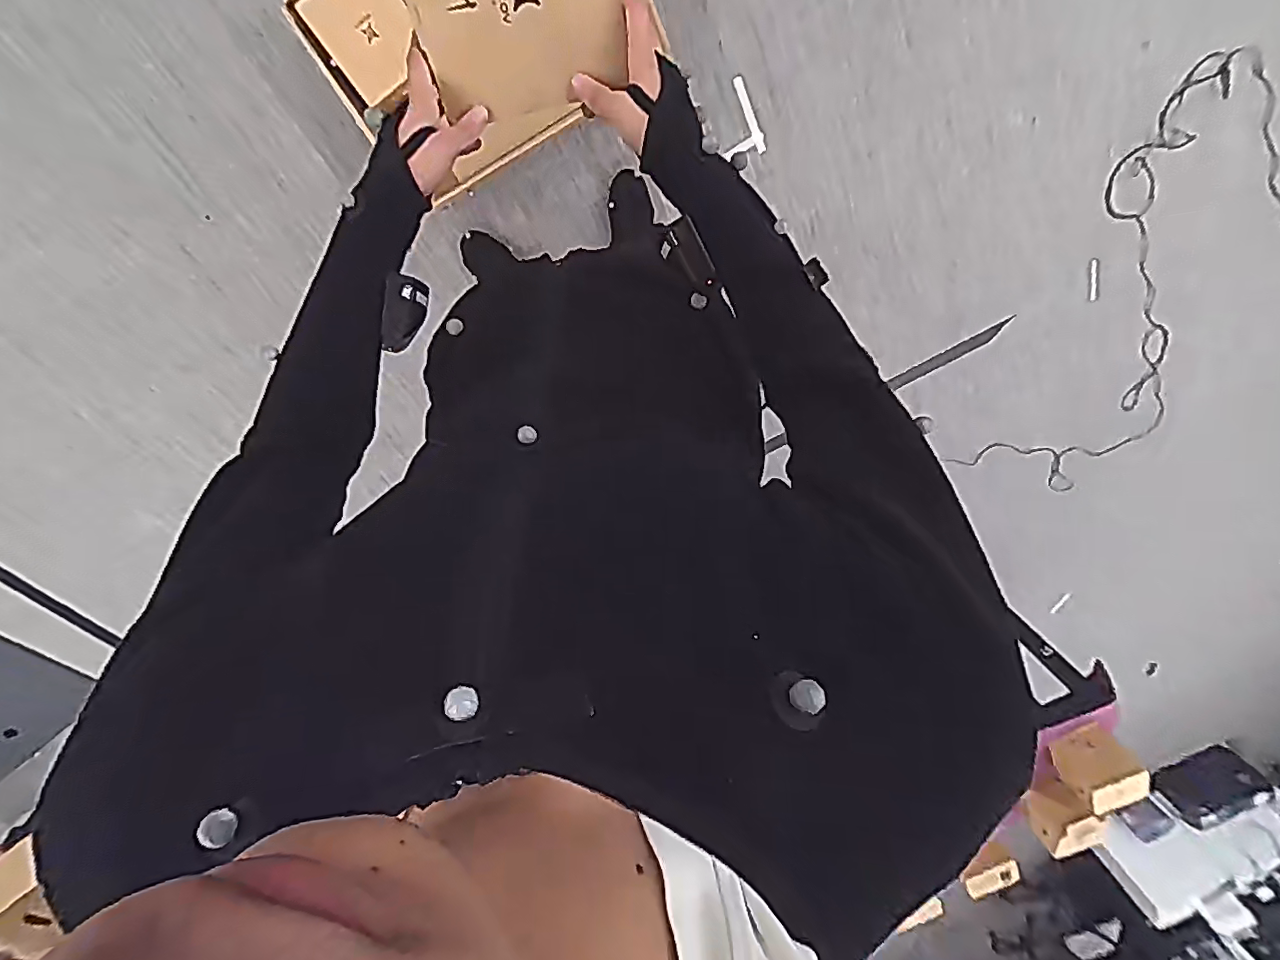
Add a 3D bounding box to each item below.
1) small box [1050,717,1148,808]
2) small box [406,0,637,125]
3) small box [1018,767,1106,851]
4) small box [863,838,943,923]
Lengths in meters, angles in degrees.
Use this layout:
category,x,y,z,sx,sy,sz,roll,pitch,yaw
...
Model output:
category,x,y,z,sx,sy,sz,roll,pitch,yaw
small box,1.421,0.874,1.680,0.168,0.176,0.179,-30,122,9
small box,-0.108,-0.447,0.492,0.179,0.176,0.168,-11,130,4
small box,1.409,1.097,1.817,0.168,0.176,0.179,-23,123,3
small box,0.917,1.395,1.890,0.179,0.176,0.168,-28,120,4
